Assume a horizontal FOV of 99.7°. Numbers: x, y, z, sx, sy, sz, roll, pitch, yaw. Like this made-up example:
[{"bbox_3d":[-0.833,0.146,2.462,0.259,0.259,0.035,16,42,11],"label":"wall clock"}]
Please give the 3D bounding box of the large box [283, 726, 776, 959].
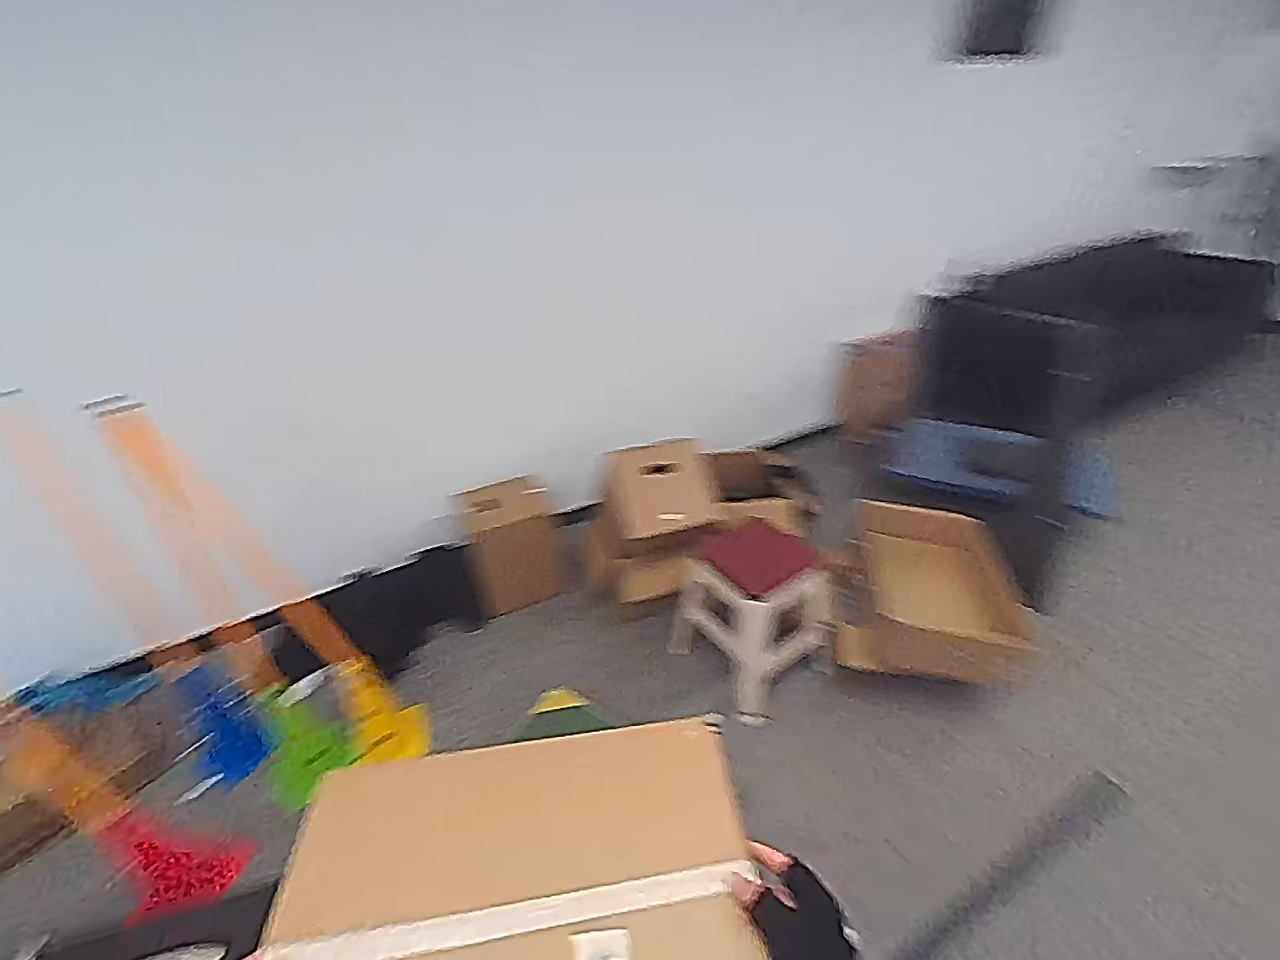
[{"bbox_3d":[-0.096,0.500,0.539,0.408,0.320,0.320,-4,34,-7],"label":"large box"}]
